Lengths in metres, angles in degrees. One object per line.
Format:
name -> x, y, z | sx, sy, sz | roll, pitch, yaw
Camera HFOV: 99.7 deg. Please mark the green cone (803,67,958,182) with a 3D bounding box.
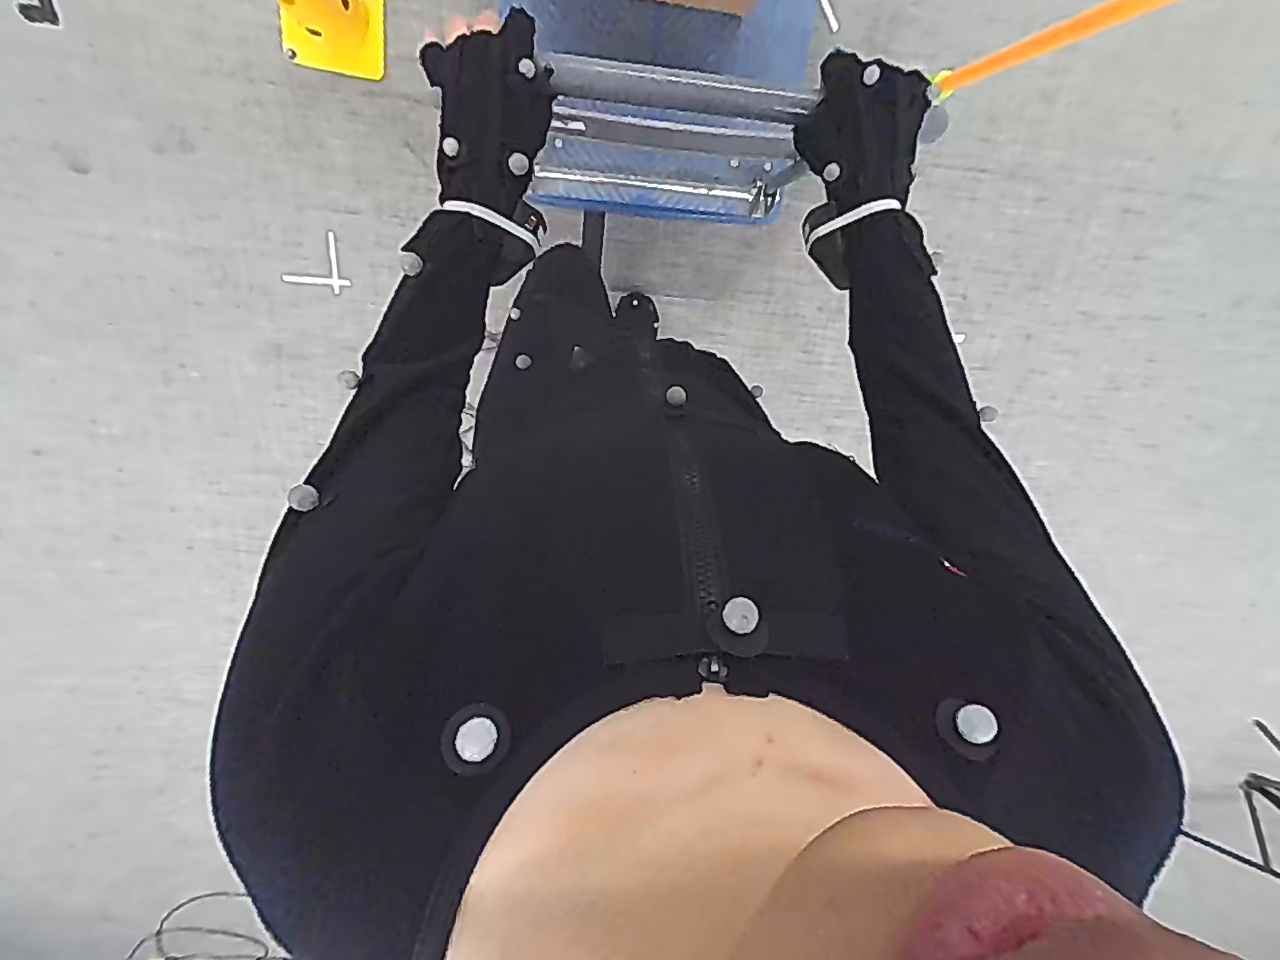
green cone -> 0.500, -0.742, 1.079 | 0.202, 0.368, 0.200 | 7, 112, -8
